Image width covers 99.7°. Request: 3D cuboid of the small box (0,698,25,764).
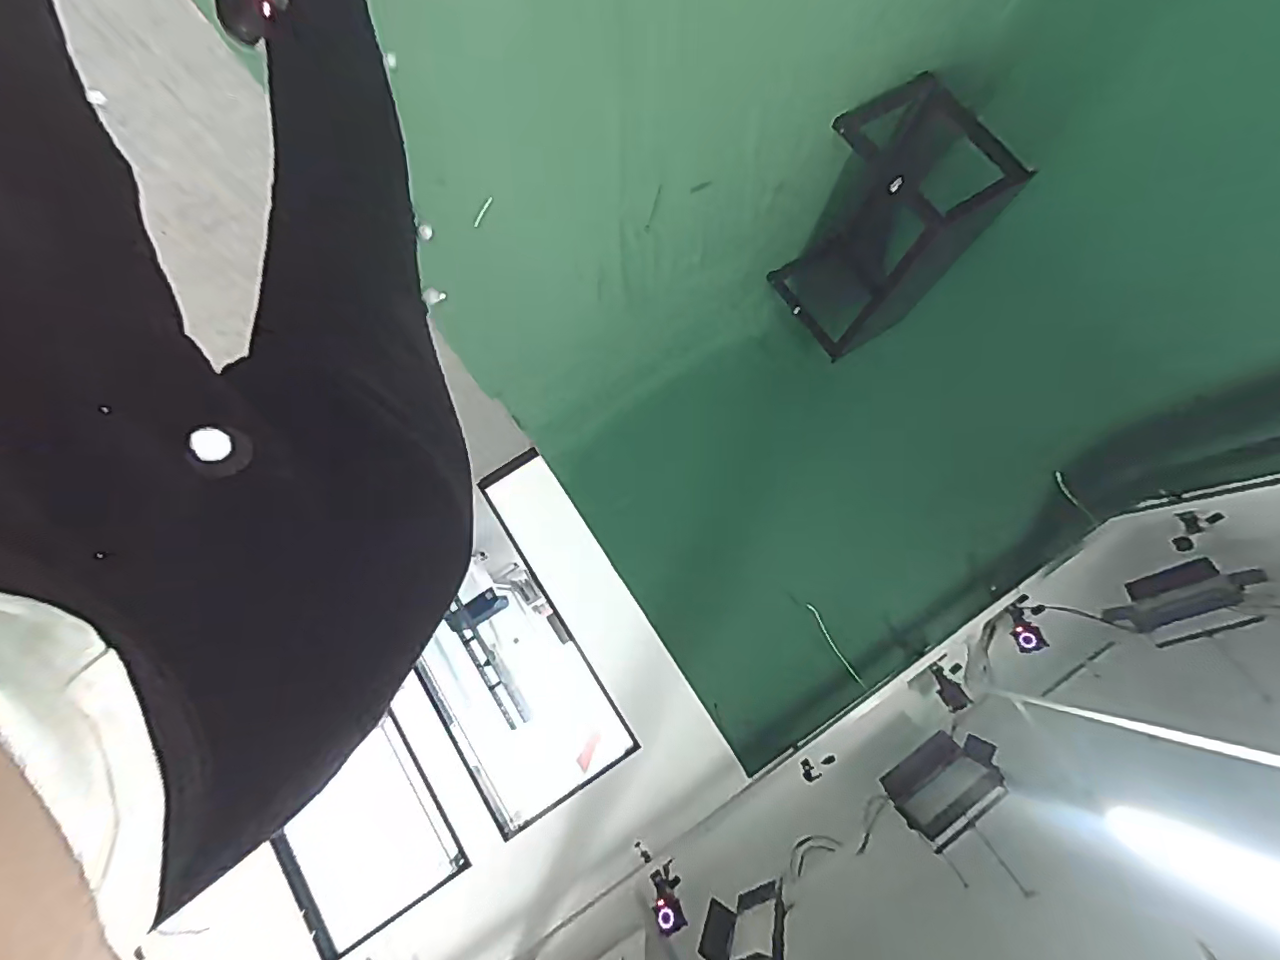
[{"bbox_3d":[-2.066,0.807,1.677,0.168,0.176,0.179,-20,163,-49],"label":"small box"}]
